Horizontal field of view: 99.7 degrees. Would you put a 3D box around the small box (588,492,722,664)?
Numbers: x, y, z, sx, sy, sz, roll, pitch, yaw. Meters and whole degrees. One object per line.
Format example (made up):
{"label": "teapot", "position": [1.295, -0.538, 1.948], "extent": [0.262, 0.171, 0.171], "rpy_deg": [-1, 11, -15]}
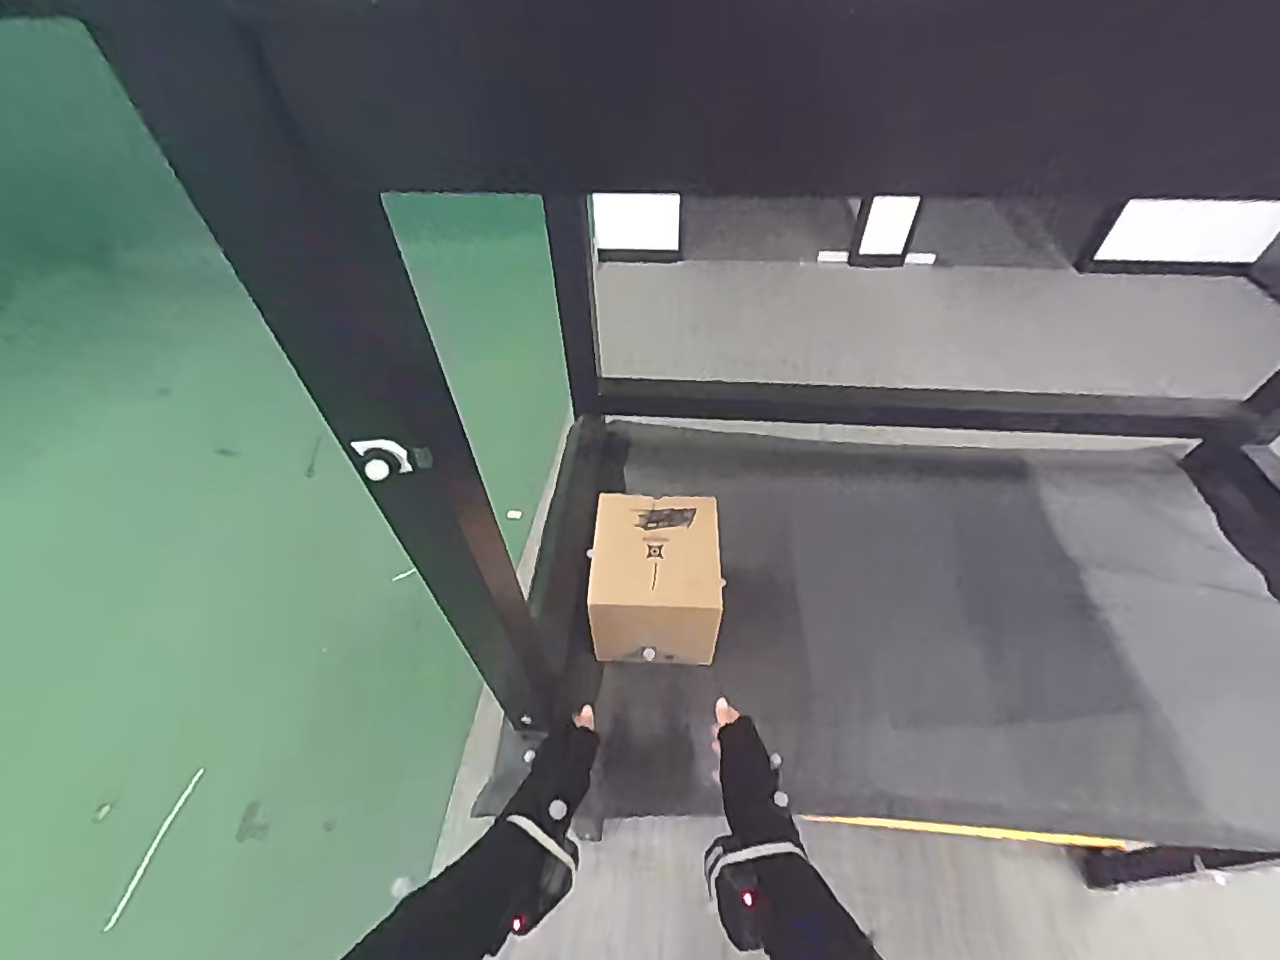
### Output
{"label": "small box", "position": [0.022, 0.137, 0.762], "extent": [0.168, 0.176, 0.179], "rpy_deg": [1, 48, 2]}
